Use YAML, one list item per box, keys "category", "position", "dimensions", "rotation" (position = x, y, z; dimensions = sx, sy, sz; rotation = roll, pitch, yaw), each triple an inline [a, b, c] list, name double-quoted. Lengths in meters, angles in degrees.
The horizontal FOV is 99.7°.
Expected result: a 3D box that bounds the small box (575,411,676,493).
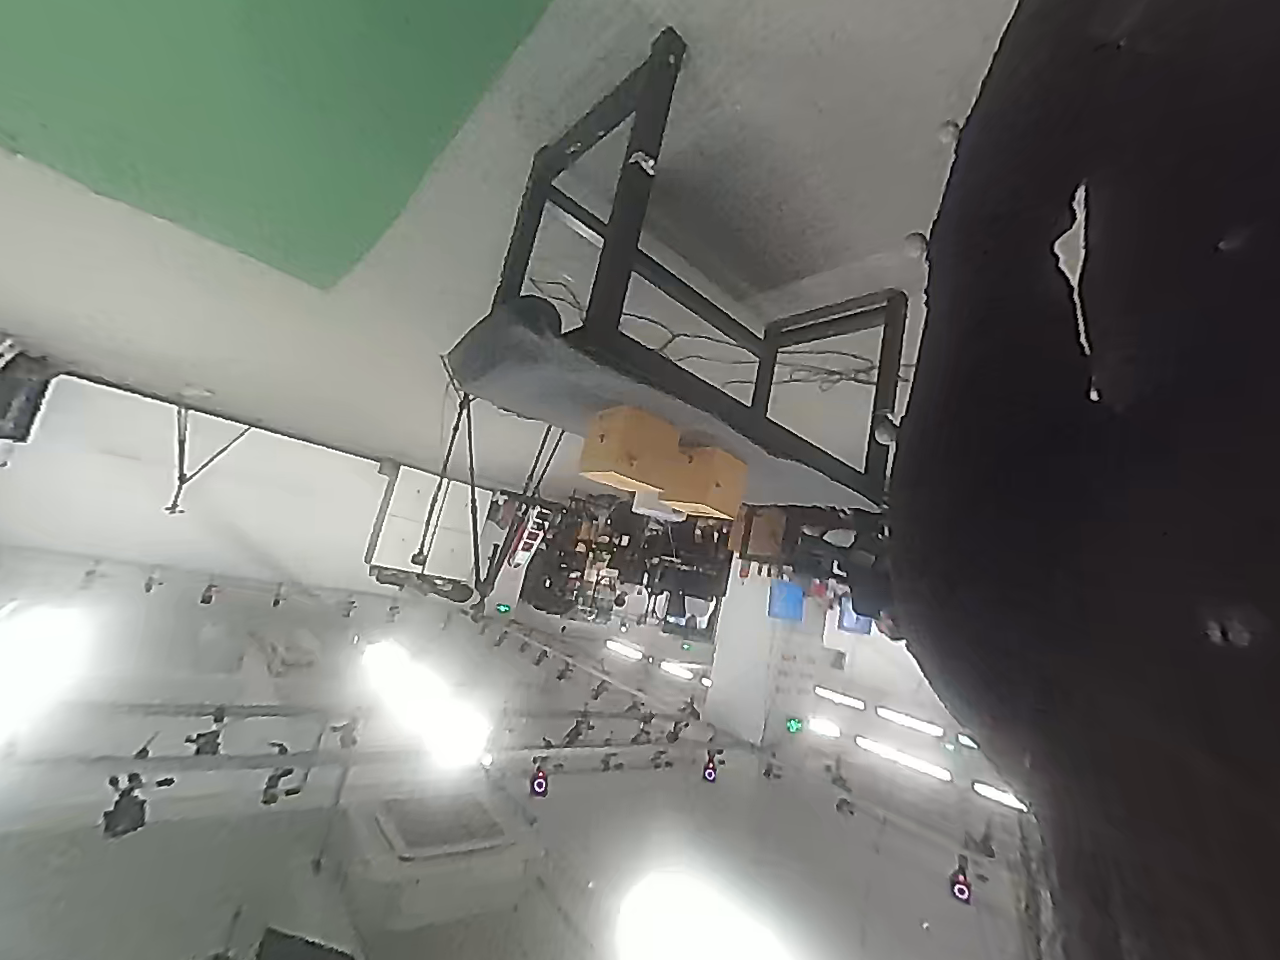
- category: "small box"
  position: [-0.035, -0.071, 1.361]
  dimensions: [0.179, 0.176, 0.168]
  rotation: [20, 168, -36]
